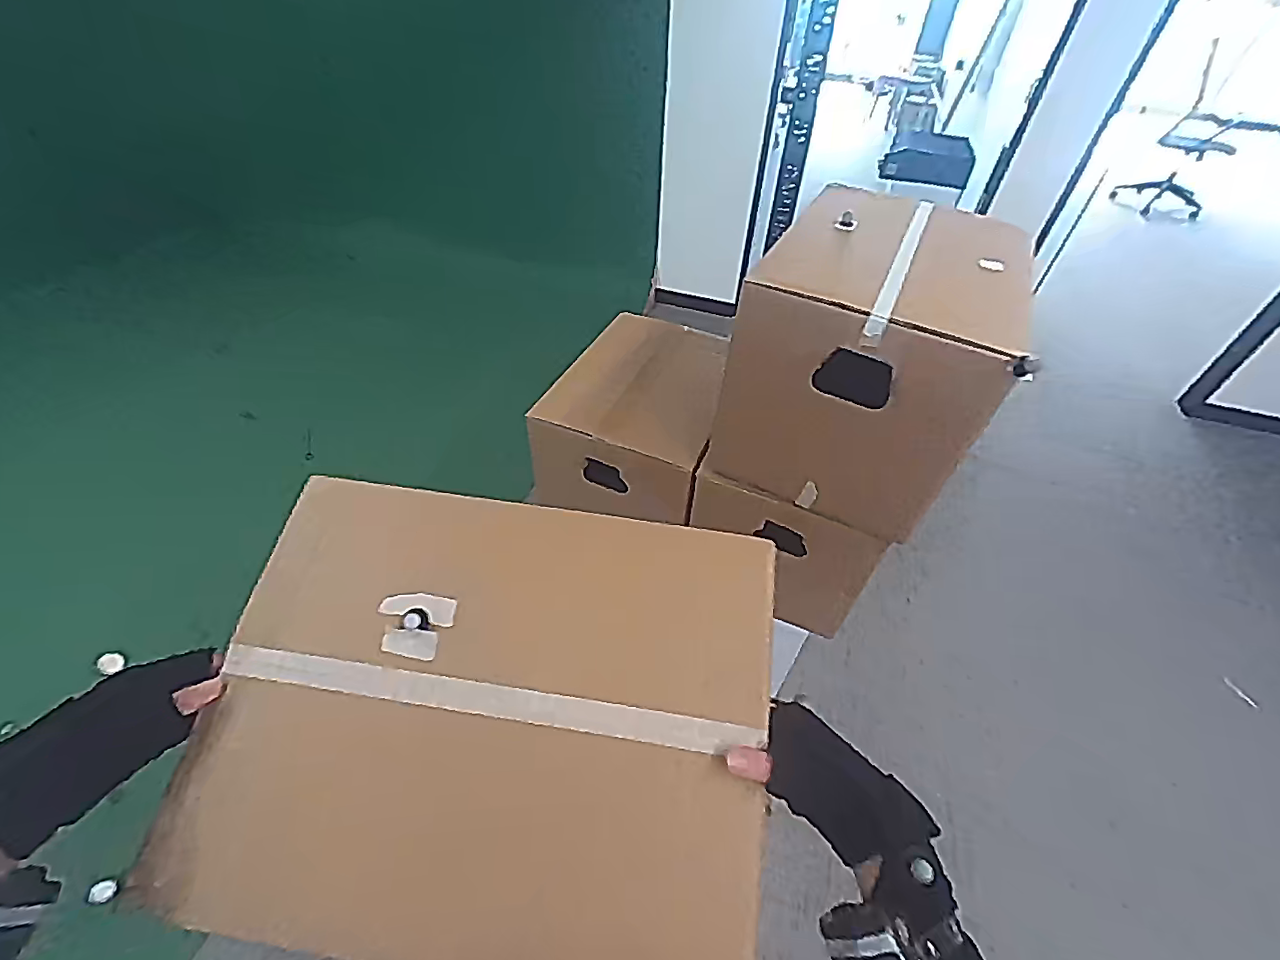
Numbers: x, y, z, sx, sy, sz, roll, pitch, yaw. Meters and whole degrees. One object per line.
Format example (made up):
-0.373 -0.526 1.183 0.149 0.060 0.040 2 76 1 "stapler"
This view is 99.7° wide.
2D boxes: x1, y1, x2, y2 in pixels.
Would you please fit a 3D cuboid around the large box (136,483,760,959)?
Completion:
-0.108 0.222 0.532 0.408 0.320 0.320 6 63 6 "large box"
